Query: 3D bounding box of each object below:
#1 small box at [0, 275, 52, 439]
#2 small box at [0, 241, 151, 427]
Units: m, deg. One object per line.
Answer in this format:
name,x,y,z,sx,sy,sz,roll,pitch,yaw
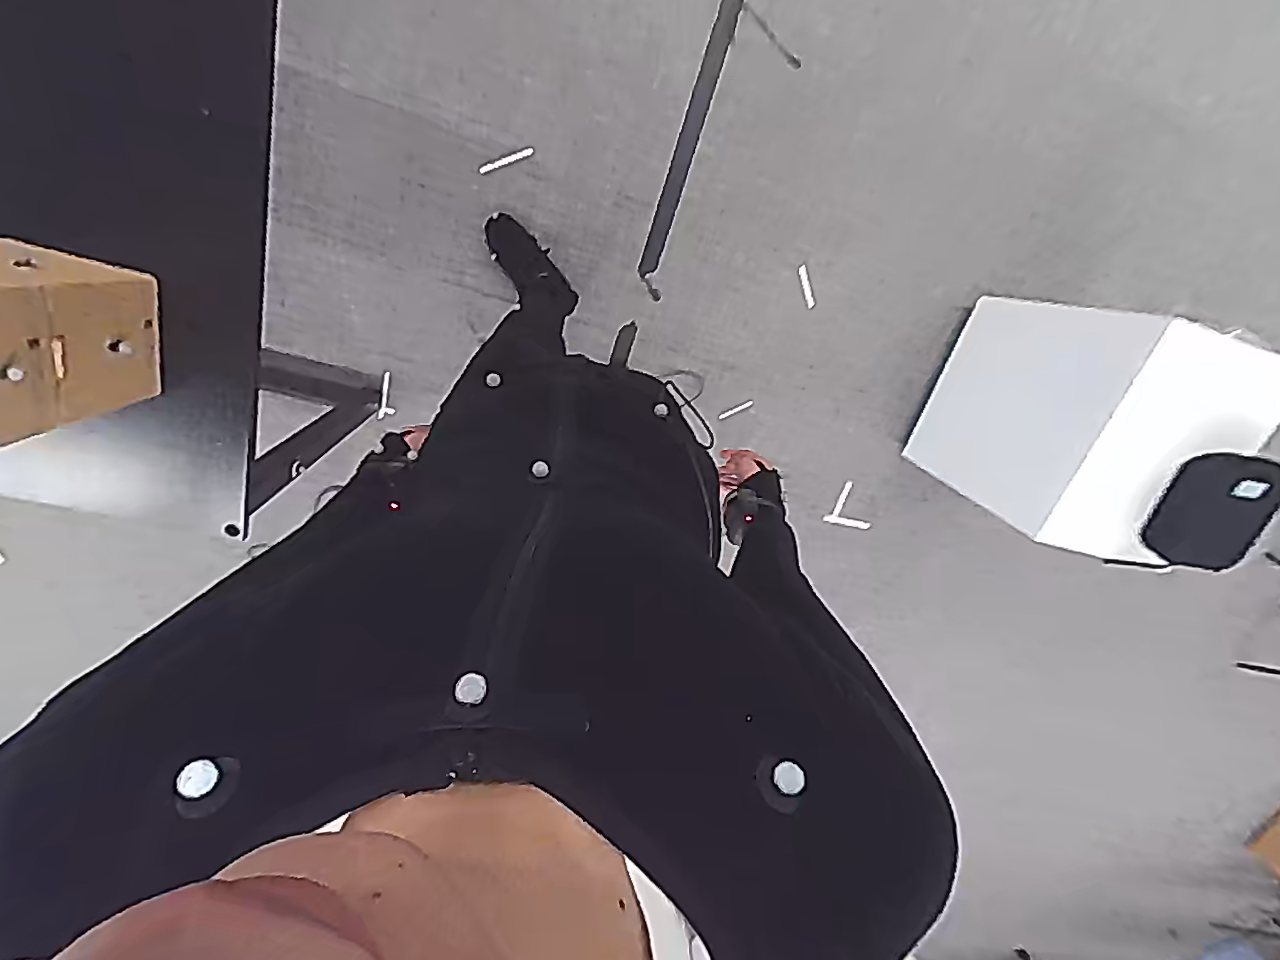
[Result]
small box,-0.717,-0.118,0.495,0.179,0.176,0.168,13,111,-12
small box,-0.734,-0.182,0.647,0.179,0.176,0.168,12,111,-12
